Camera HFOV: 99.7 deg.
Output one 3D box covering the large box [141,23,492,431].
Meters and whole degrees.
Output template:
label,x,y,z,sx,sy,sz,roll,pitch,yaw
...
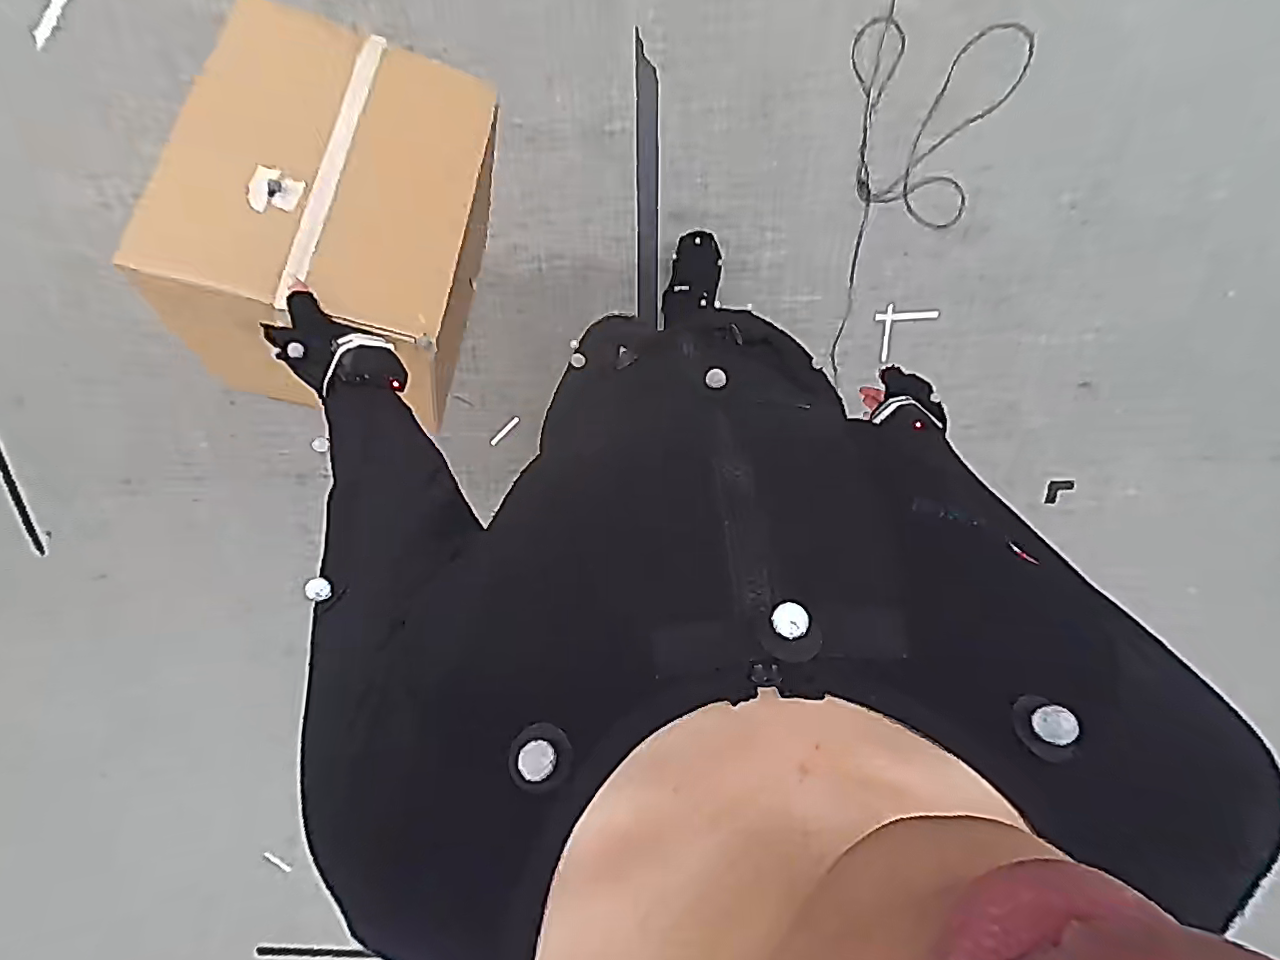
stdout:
label,x,y,z,sx,sy,sz,roll,pitch,yaw
large box,-0.417,-0.335,0.809,0.320,0.320,0.408,11,72,-14
